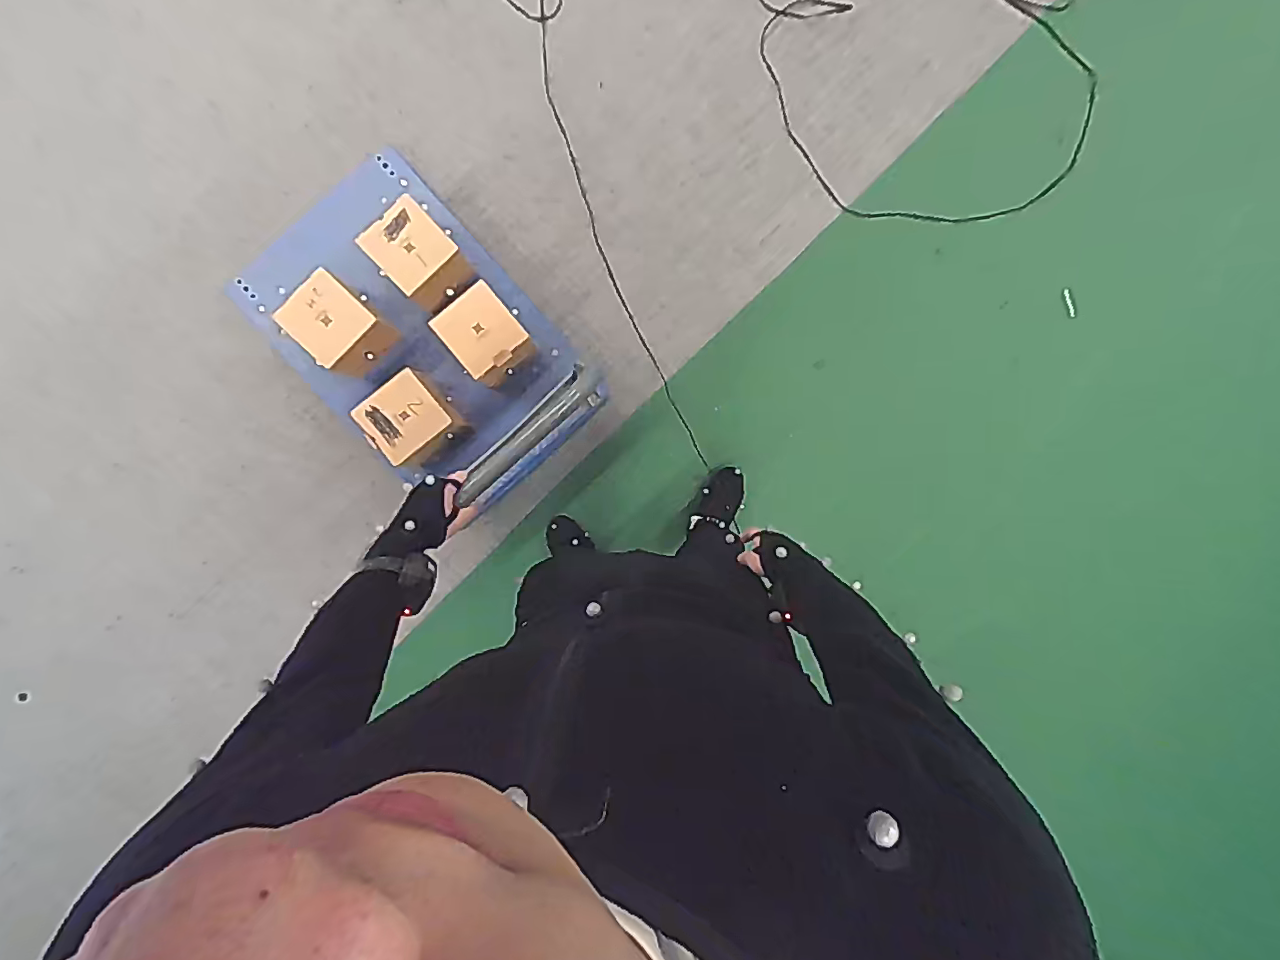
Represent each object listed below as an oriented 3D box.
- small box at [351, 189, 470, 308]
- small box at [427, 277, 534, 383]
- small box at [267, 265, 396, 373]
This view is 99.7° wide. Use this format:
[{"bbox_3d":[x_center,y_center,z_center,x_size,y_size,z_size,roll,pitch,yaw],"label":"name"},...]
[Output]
[{"bbox_3d":[-0.545,-0.549,1.310,0.168,0.176,0.179,-43,96,1],"label":"small box"},{"bbox_3d":[-0.384,-0.358,1.334,0.168,0.176,0.179,-40,96,0],"label":"small box"},{"bbox_3d":[-0.733,-0.377,1.309,0.179,0.176,0.168,44,89,-5],"label":"small box"}]
